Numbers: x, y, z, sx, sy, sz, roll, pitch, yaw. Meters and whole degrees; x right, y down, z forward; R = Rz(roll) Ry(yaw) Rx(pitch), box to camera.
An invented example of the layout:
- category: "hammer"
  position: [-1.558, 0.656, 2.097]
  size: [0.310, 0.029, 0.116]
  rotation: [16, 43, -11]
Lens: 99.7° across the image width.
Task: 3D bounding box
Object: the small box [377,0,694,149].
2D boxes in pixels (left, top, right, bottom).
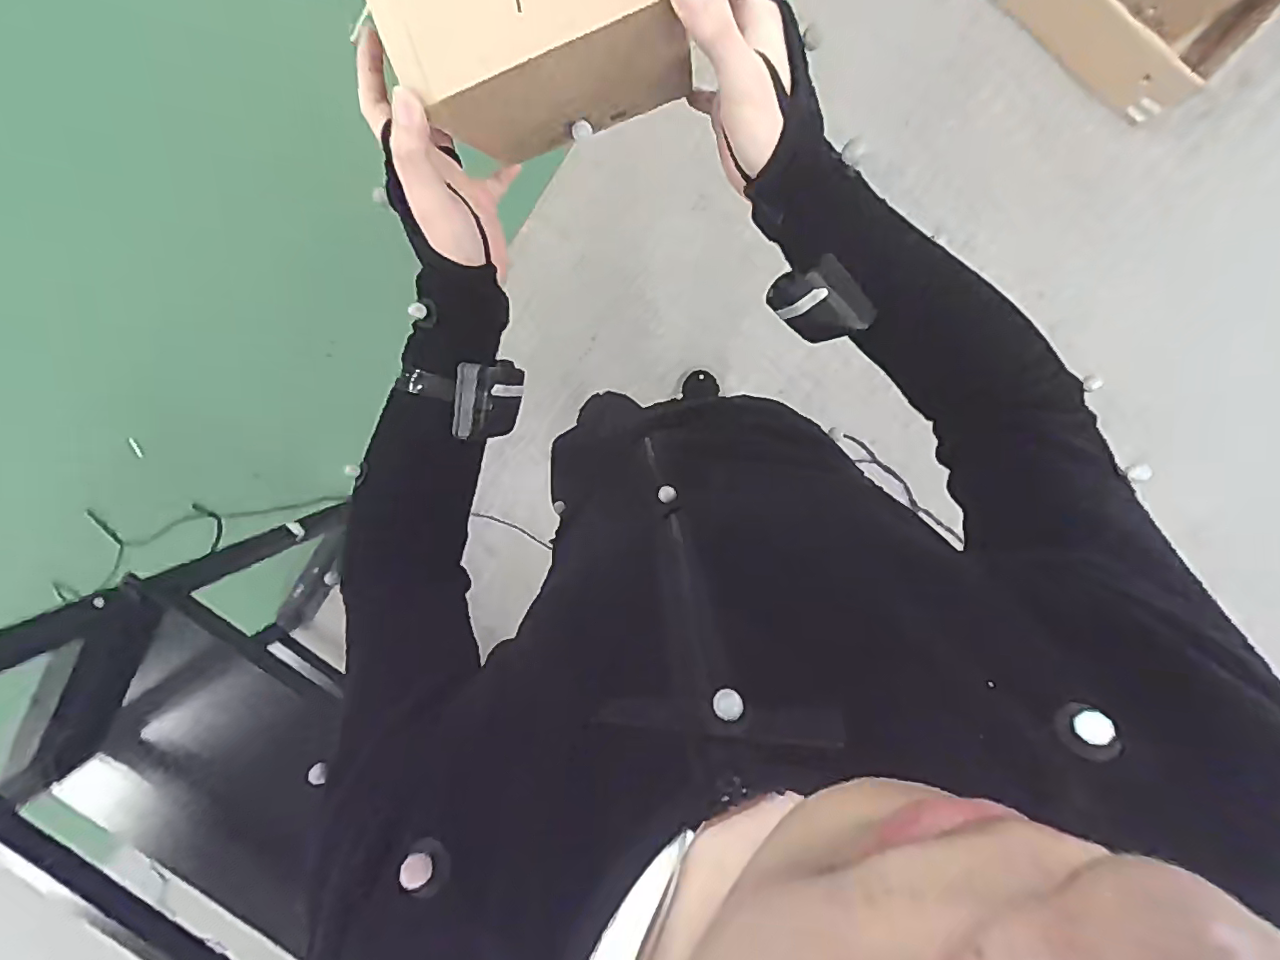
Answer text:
- category: "small box"
  position: [-0.066, -0.341, 0.336]
  size: [0.168, 0.176, 0.179]
  rotation: [-13, 109, 12]
